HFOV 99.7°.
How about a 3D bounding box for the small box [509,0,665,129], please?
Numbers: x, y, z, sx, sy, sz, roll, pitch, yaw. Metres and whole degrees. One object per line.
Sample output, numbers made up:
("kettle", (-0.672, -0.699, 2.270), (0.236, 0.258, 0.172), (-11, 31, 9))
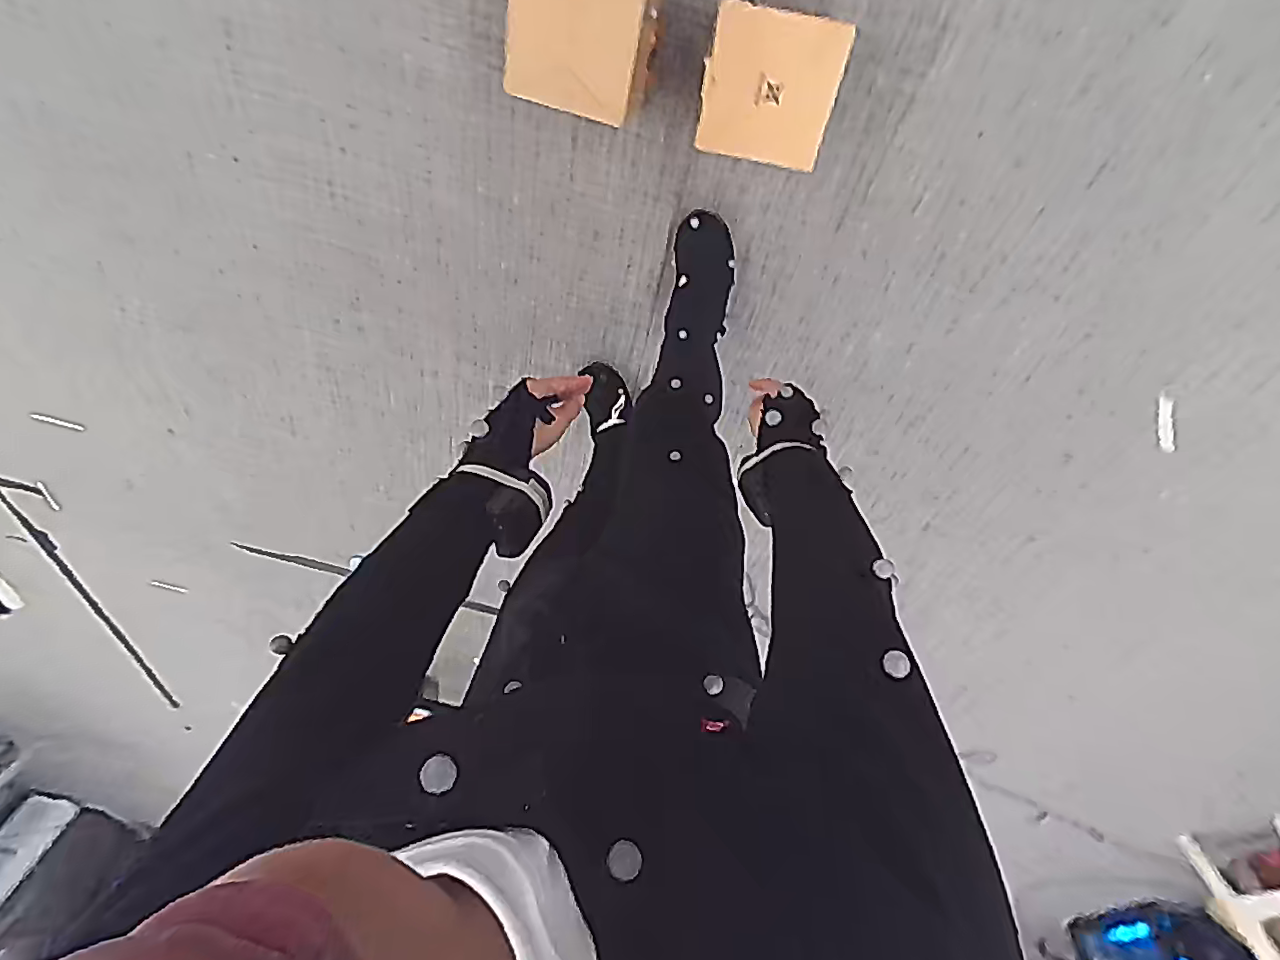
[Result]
("small box", (-0.074, -0.633, 0.782), (0.179, 0.176, 0.168), (15, 131, -3))

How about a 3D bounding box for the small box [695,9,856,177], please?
("small box", (0.189, -0.569, 0.792), (0.179, 0.176, 0.168), (12, 131, 1))
